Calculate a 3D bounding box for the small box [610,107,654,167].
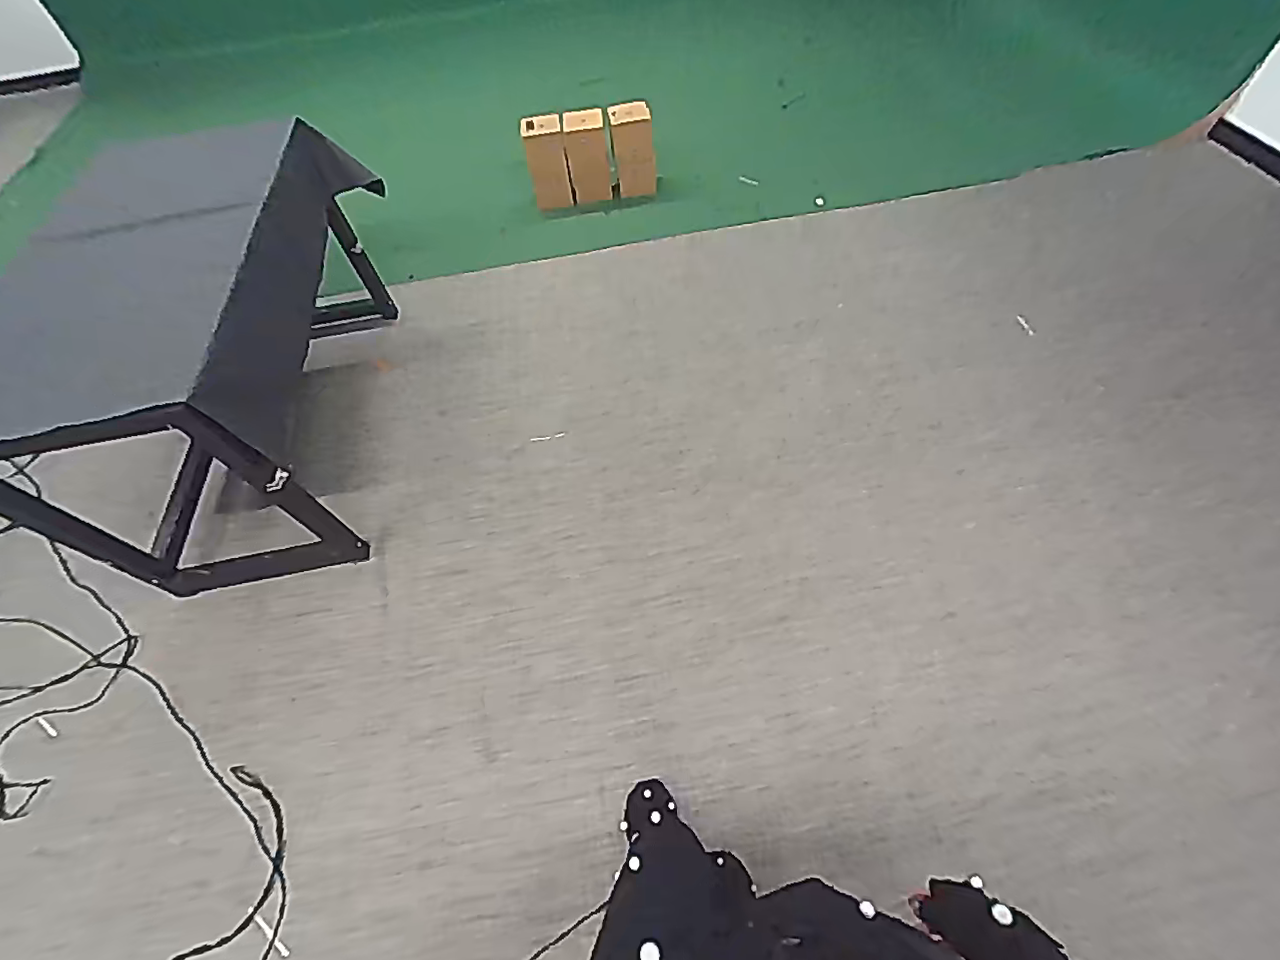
[{"bbox_3d":[-0.035,-1.549,2.444,0.179,0.176,0.168,-9,57,-2],"label":"small box"}]
